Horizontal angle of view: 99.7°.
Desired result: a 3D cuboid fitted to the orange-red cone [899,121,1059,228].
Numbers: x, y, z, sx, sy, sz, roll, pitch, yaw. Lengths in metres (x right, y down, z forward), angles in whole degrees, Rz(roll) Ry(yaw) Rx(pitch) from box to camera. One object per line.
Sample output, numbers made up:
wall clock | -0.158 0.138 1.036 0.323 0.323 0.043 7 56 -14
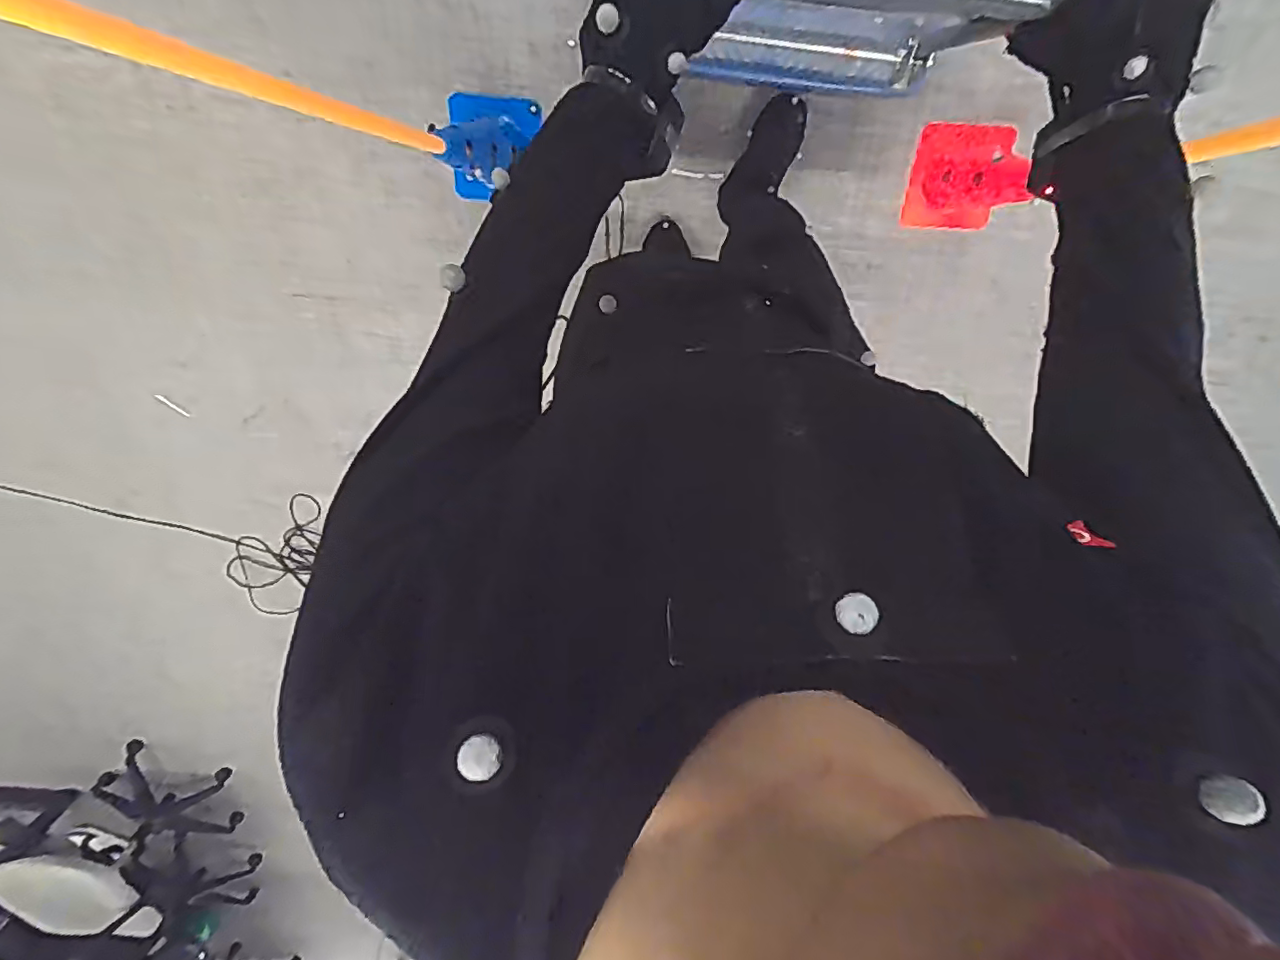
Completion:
orange-red cone | 0.680 -0.584 1.043 0.199 0.360 0.198 6 120 1
